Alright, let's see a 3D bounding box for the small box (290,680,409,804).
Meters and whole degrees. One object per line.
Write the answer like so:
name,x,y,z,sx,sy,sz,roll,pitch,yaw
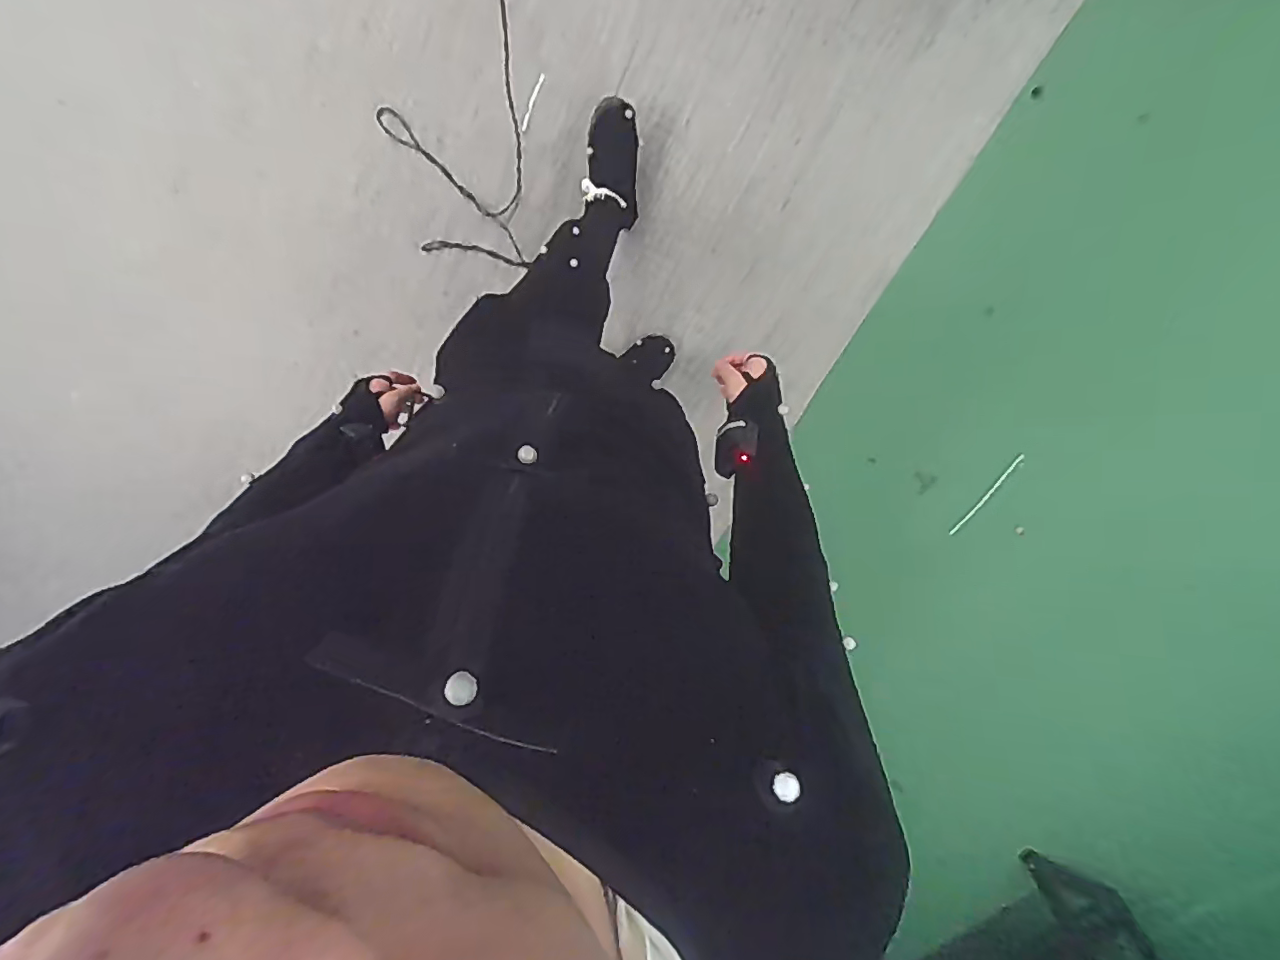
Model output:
small box,-0.671,0.609,1.270,0.168,0.176,0.179,29,112,-11
